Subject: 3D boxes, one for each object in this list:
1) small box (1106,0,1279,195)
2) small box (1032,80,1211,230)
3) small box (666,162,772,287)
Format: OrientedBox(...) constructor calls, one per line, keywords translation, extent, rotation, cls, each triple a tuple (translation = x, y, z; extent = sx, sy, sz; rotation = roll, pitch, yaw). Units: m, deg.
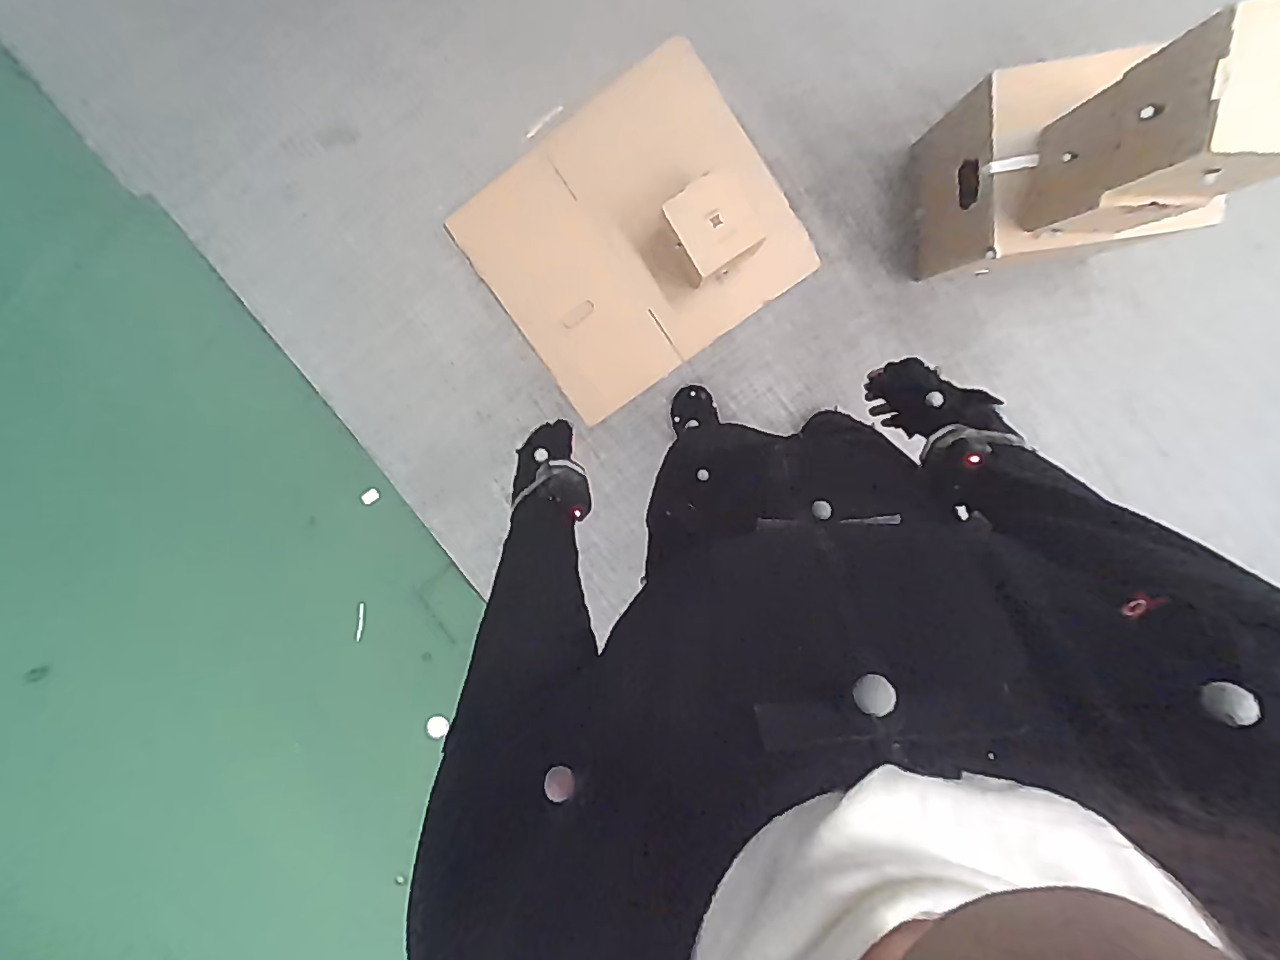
OrientedBox(translation=(0.779, -0.495, 0.721), extent=(0.179, 0.176, 0.168), rotation=(-1, 100, 3), cls="small box")
OrientedBox(translation=(0.782, -0.515, 0.881), extent=(0.168, 0.176, 0.179), rotation=(1, 101, 3), cls="small box")
OrientedBox(translation=(0.169, -0.558, 1.210), extent=(0.168, 0.176, 0.179), rotation=(-31, 98, 10), cls="small box")
